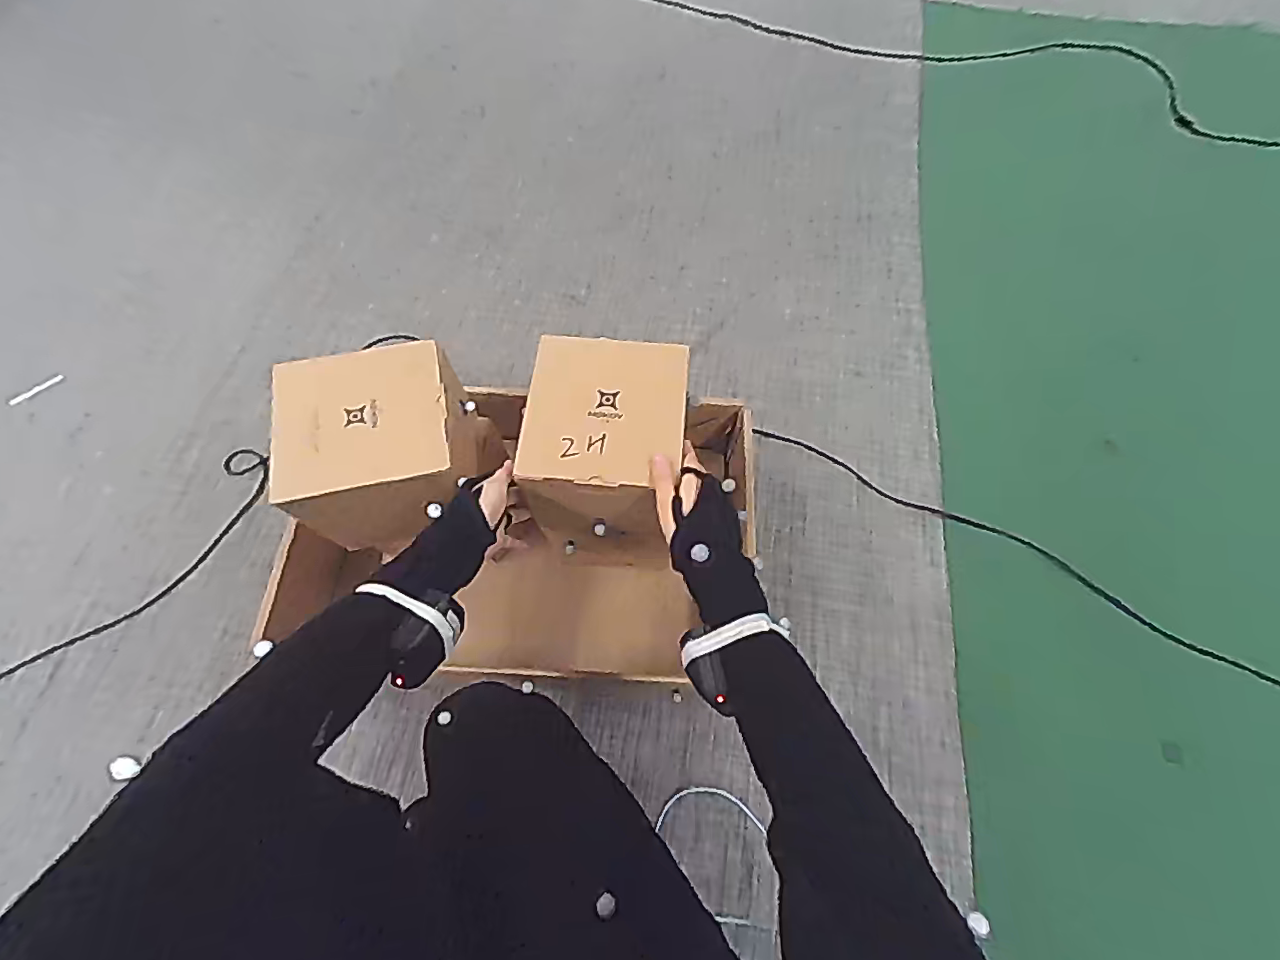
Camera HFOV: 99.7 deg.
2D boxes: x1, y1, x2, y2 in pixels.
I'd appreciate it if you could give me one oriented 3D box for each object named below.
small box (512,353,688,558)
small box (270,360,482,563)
[{"bbox_3d":[-0.038,-0.022,0.635,0.168,0.176,0.179,5,65,3],"label":"small box"},{"bbox_3d":[-0.291,-0.014,0.635,0.179,0.176,0.168,-11,66,-5],"label":"small box"}]
